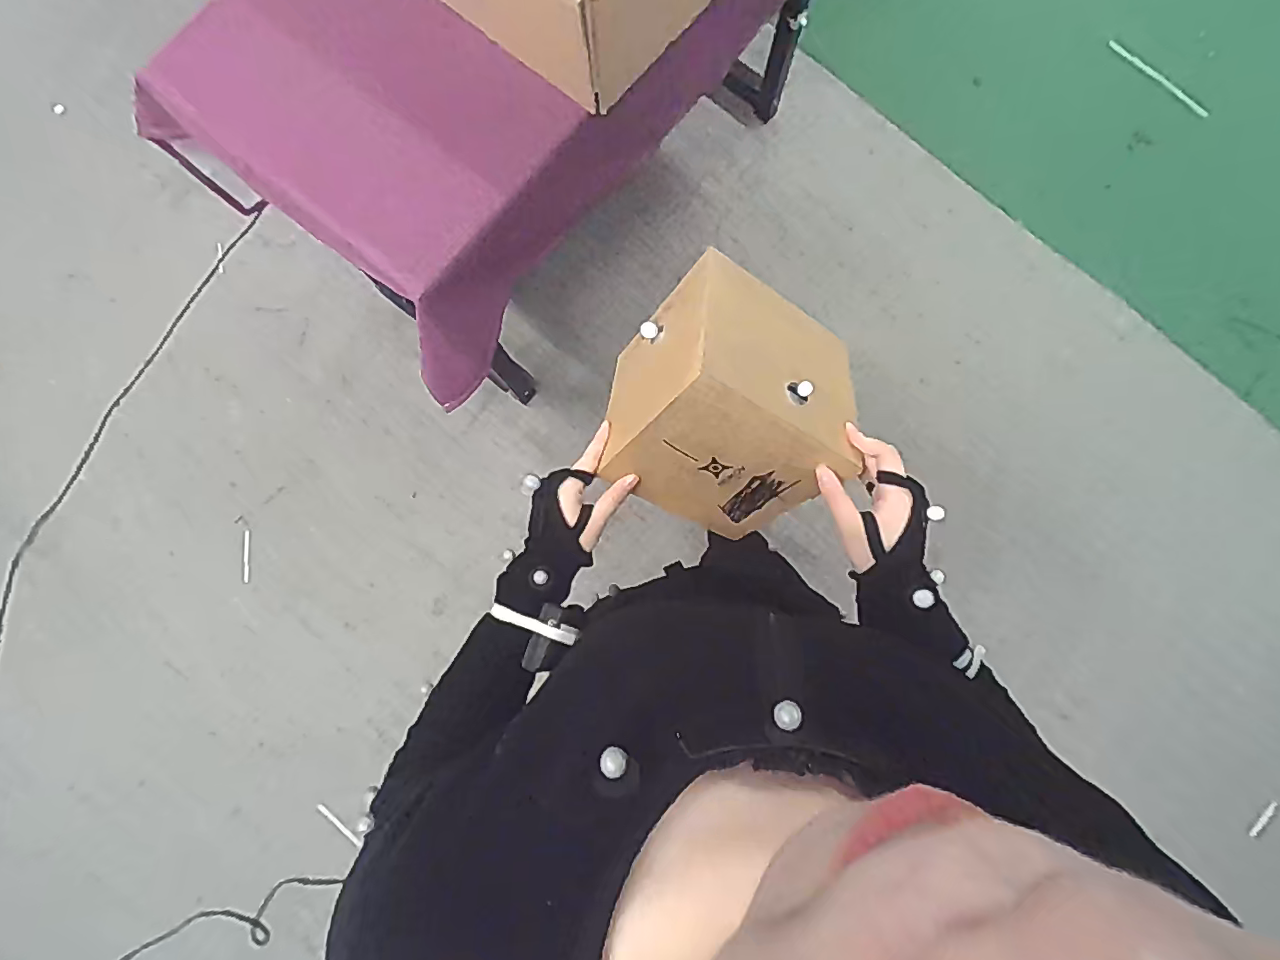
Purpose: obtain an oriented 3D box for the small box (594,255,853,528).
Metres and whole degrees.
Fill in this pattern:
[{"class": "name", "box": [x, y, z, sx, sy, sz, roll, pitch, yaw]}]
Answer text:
[{"class": "small box", "box": [0.081, -0.082, 0.533, 0.179, 0.168, 0.176, 25, 51, -21]}]
